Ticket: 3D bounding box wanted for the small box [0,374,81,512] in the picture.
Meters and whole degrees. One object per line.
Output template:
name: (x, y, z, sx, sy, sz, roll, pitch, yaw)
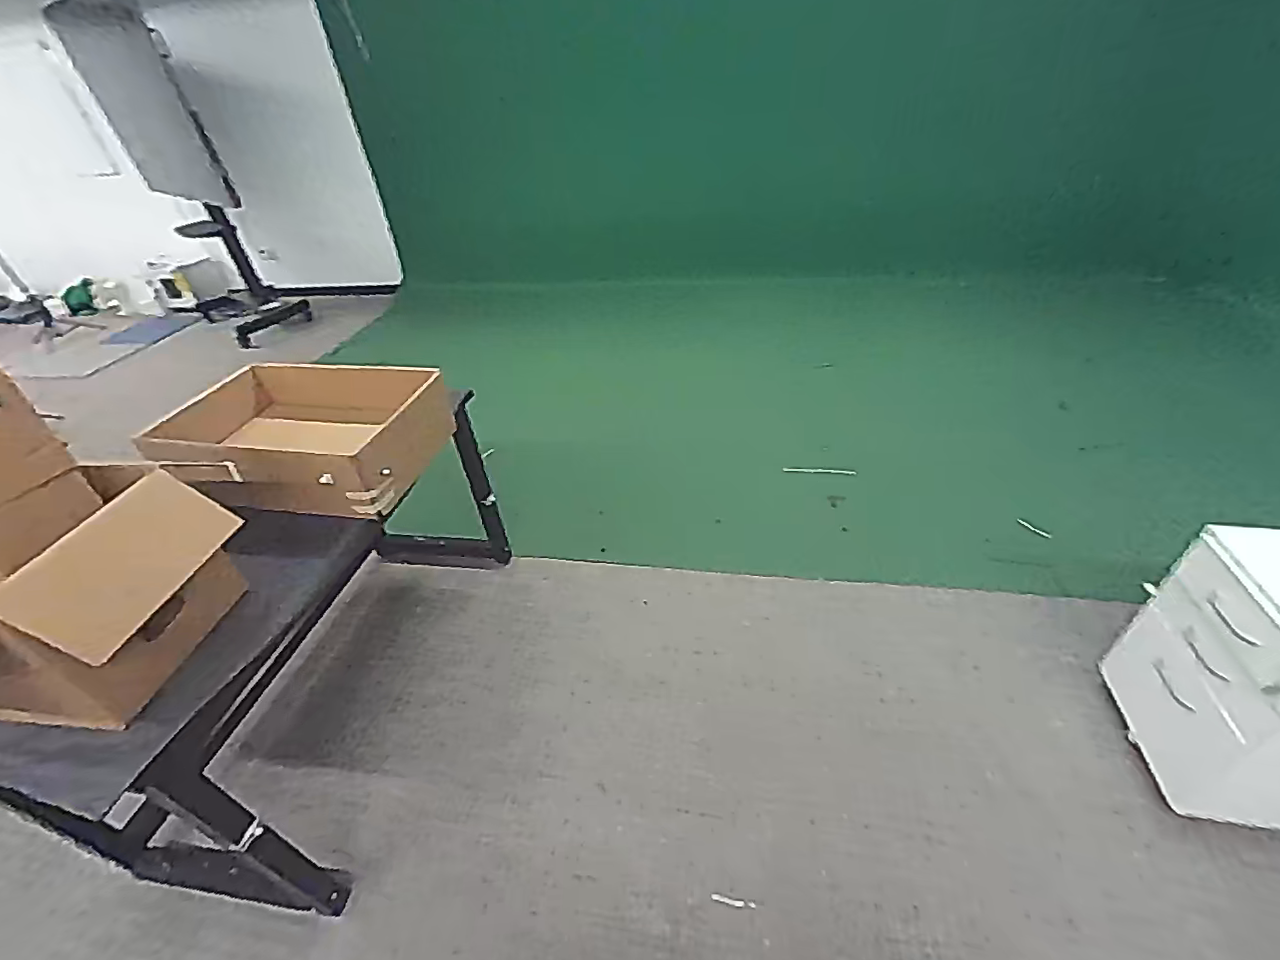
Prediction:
small box: (-1.003, -0.040, 0.785, 0.168, 0.176, 0.179, 1, 33, 12)
